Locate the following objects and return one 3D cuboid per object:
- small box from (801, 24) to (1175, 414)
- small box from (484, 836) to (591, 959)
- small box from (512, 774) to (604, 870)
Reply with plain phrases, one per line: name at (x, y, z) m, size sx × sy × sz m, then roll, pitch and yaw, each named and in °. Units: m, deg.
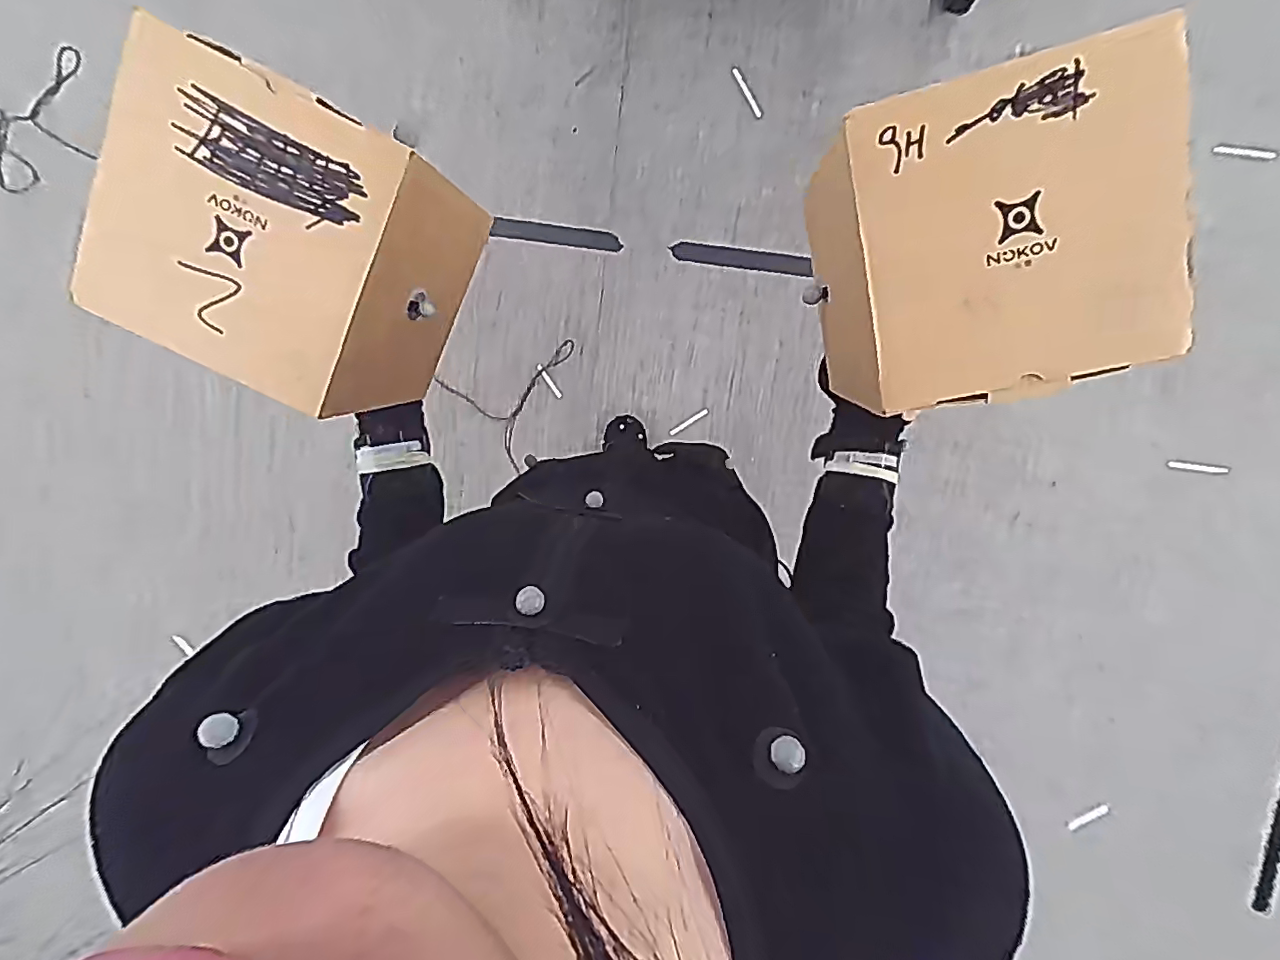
small box at (0.220, -0.159, 0.385) m, size 0.168 × 0.176 × 0.179 m, roll -11°, pitch 103°, yaw 10°
small box at (-0.185, 0.803, 1.012) m, size 0.168 × 0.176 × 0.179 m, roll 0°, pitch 95°, yaw 2°
small box at (-0.184, 0.775, 1.173) m, size 0.179 × 0.176 × 0.168 m, roll 15°, pitch 94°, yaw 1°
